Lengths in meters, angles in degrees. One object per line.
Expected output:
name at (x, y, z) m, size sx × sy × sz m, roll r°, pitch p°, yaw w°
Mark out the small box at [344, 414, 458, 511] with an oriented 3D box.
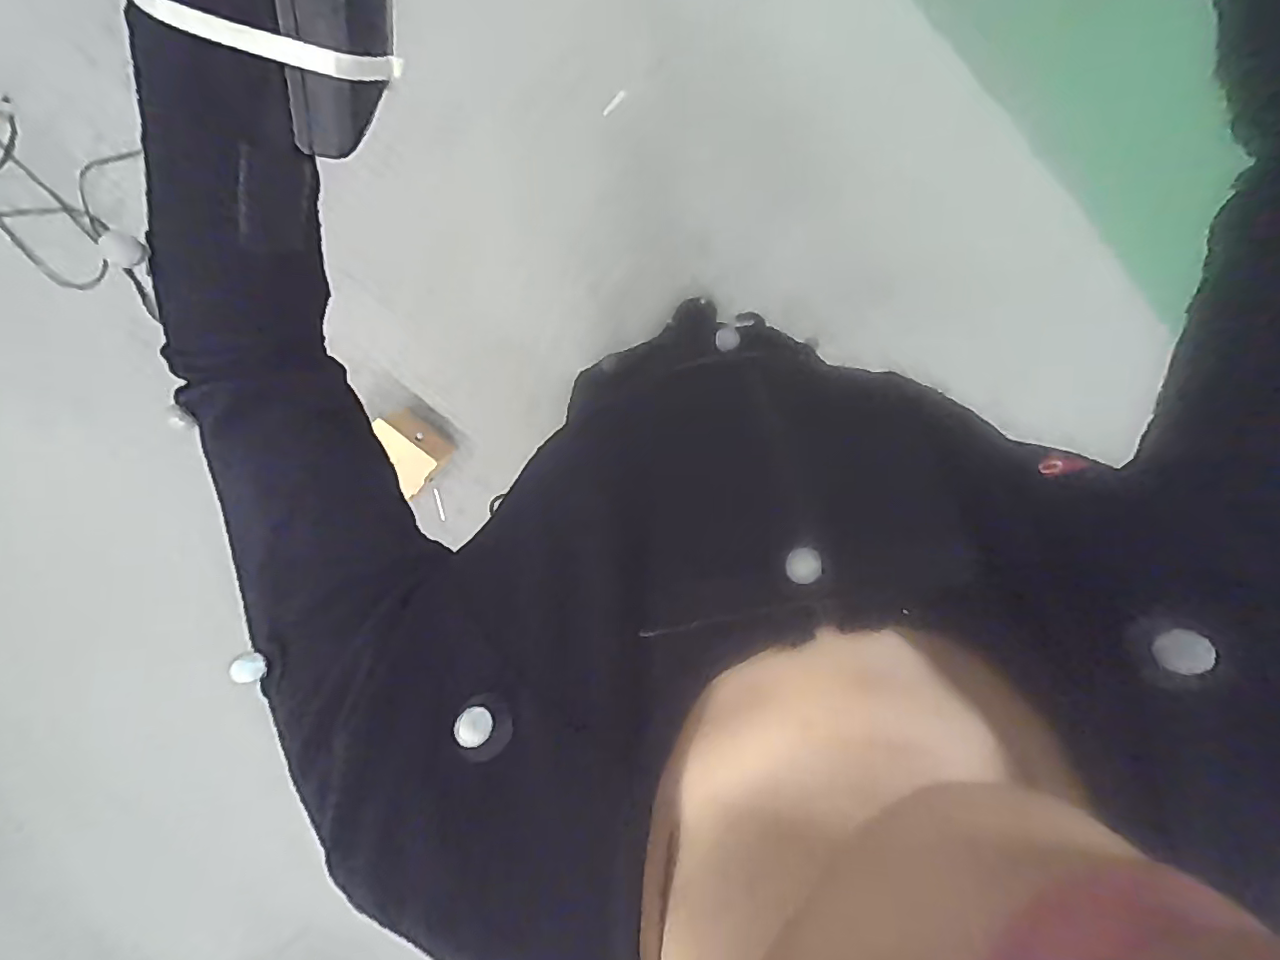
small box at (-0.601, -0.053, 1.383) m, size 0.179 × 0.176 × 0.168 m, roll 40°, pitch 101°, yaw -11°
